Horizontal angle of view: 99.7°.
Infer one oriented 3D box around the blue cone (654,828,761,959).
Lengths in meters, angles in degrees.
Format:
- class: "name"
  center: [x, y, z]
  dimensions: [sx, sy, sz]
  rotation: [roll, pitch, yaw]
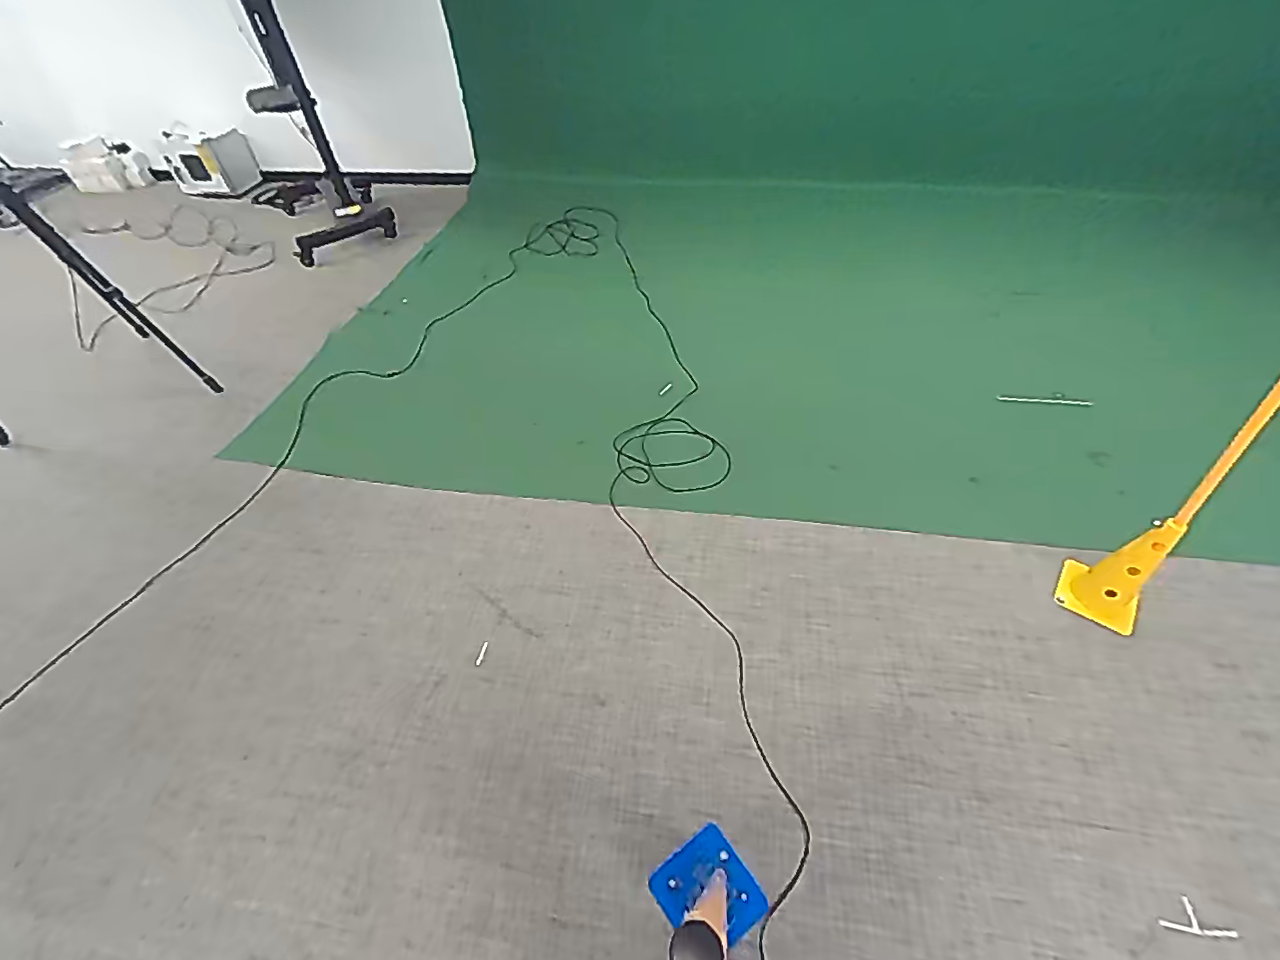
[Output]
- class: "blue cone"
  center: [0.139, 0.792, 1.048]
  dimensions: [0.193, 0.380, 0.192]
  rotation: [-31, 54, -21]
